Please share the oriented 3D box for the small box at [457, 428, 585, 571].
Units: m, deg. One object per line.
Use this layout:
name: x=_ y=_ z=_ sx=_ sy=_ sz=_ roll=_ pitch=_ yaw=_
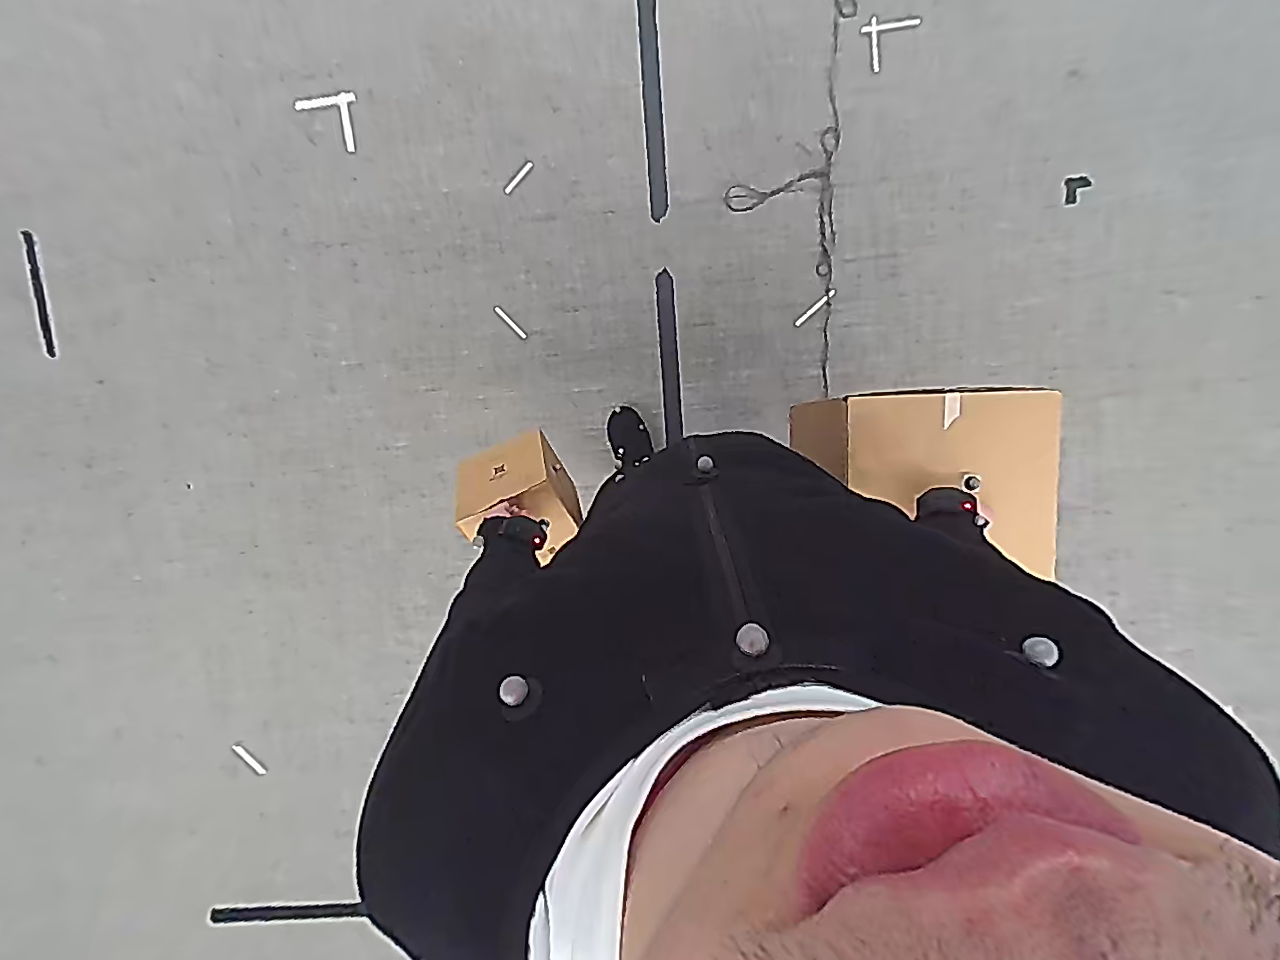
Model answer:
small box: x=-0.213 y=0.042 z=0.980 sx=0.168 sy=0.179 sz=0.176 roll=-24 pitch=130 yaw=2
